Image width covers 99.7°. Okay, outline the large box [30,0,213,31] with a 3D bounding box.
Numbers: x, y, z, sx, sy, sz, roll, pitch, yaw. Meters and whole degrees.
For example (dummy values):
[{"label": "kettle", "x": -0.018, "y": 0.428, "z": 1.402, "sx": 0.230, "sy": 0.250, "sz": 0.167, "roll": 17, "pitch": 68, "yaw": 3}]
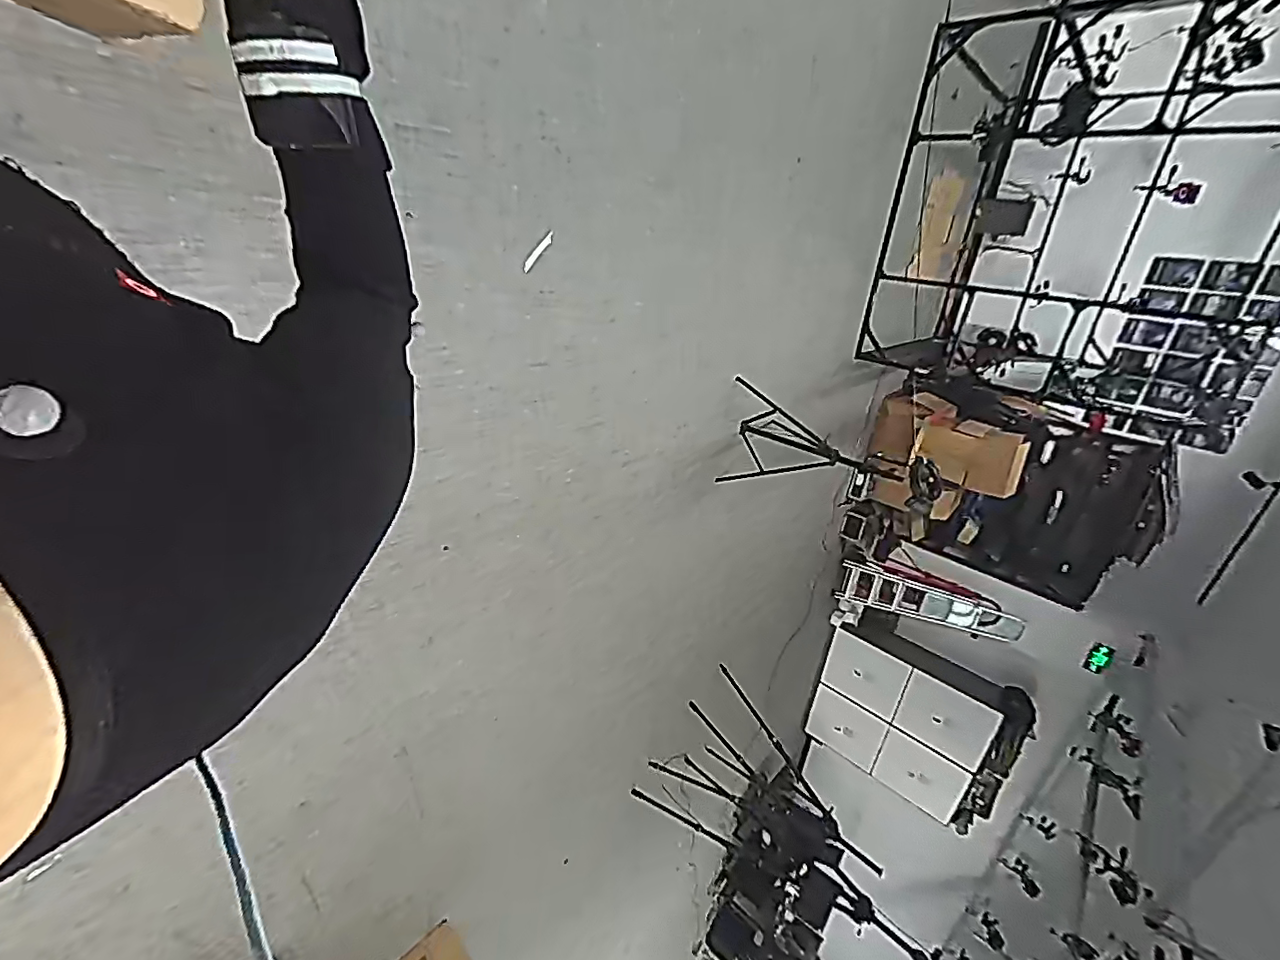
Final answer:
[{"label": "large box", "x": -0.446, "y": -0.469, "z": 0.210, "sx": 0.408, "sy": 0.320, "sz": 0.320, "roll": -3, "pitch": 118, "yaw": -52}]
